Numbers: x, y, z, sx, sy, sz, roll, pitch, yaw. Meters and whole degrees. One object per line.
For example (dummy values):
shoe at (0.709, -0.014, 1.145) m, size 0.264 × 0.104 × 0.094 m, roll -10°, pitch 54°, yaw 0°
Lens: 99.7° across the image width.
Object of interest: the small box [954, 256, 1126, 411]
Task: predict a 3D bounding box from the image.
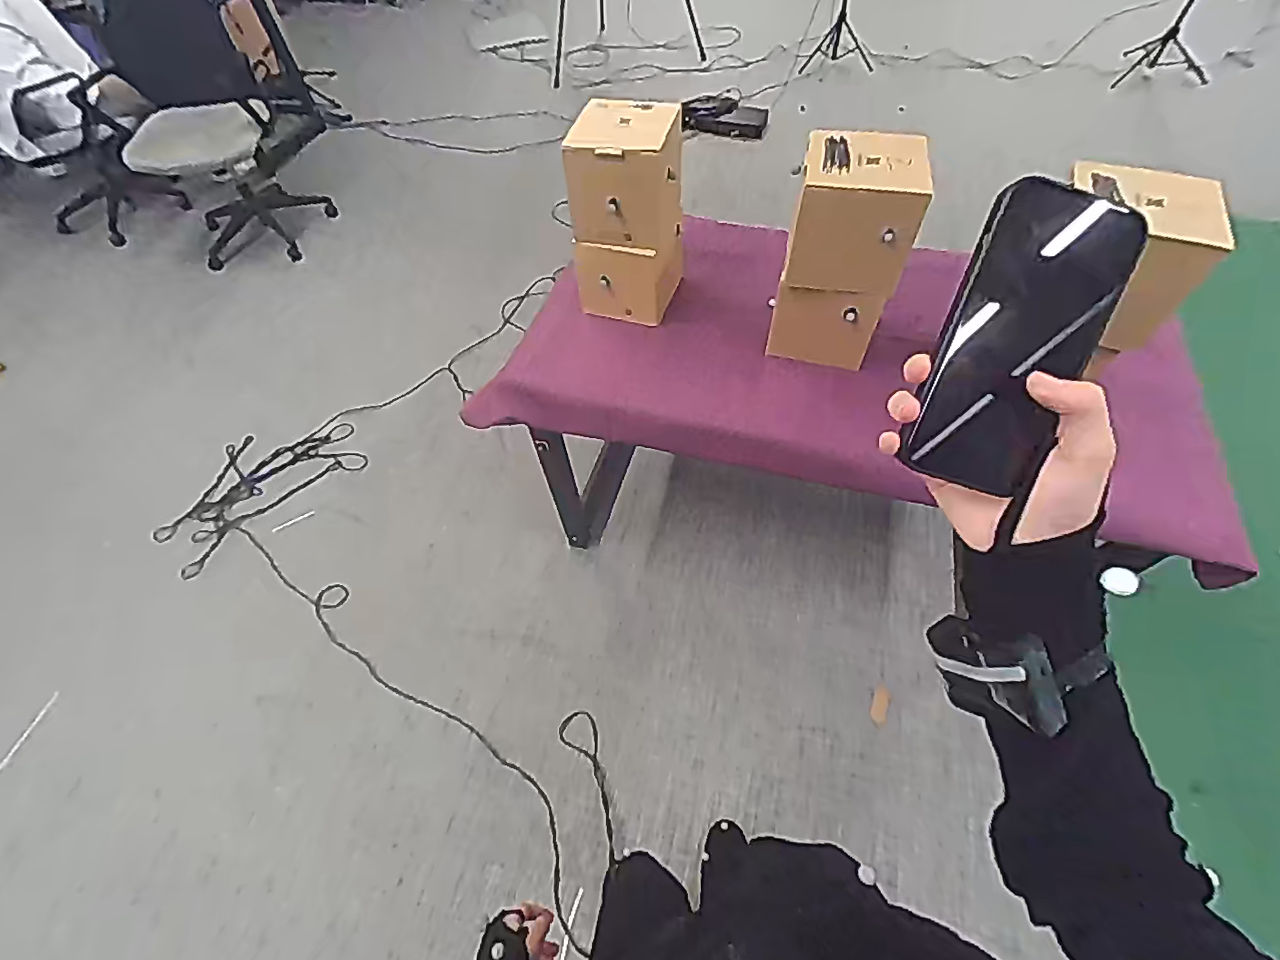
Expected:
small box at (0.666, -0.240, 0.909) m, size 0.179 × 0.176 × 0.168 m, roll 20°, pitch 60°, yaw 17°

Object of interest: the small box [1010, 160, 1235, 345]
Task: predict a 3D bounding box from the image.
small box at (0.659, -0.317, 0.763) m, size 0.179 × 0.176 × 0.168 m, roll 20°, pitch 60°, yaw 16°

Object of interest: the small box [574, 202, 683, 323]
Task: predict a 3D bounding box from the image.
small box at (-0.013, -0.444, 1.091) m, size 0.168 × 0.176 × 0.179 m, roll 15°, pitch 59°, yaw 13°

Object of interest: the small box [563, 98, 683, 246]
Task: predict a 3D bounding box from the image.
small box at (-0.020, -0.542, 0.959) m, size 0.168 × 0.176 × 0.179 m, roll 11°, pitch 58°, yaw 10°

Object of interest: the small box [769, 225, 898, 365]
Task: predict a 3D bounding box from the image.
small box at (0.349, -0.334, 0.991) m, size 0.179 × 0.176 × 0.168 m, roll 14°, pitch 58°, yaw 13°
